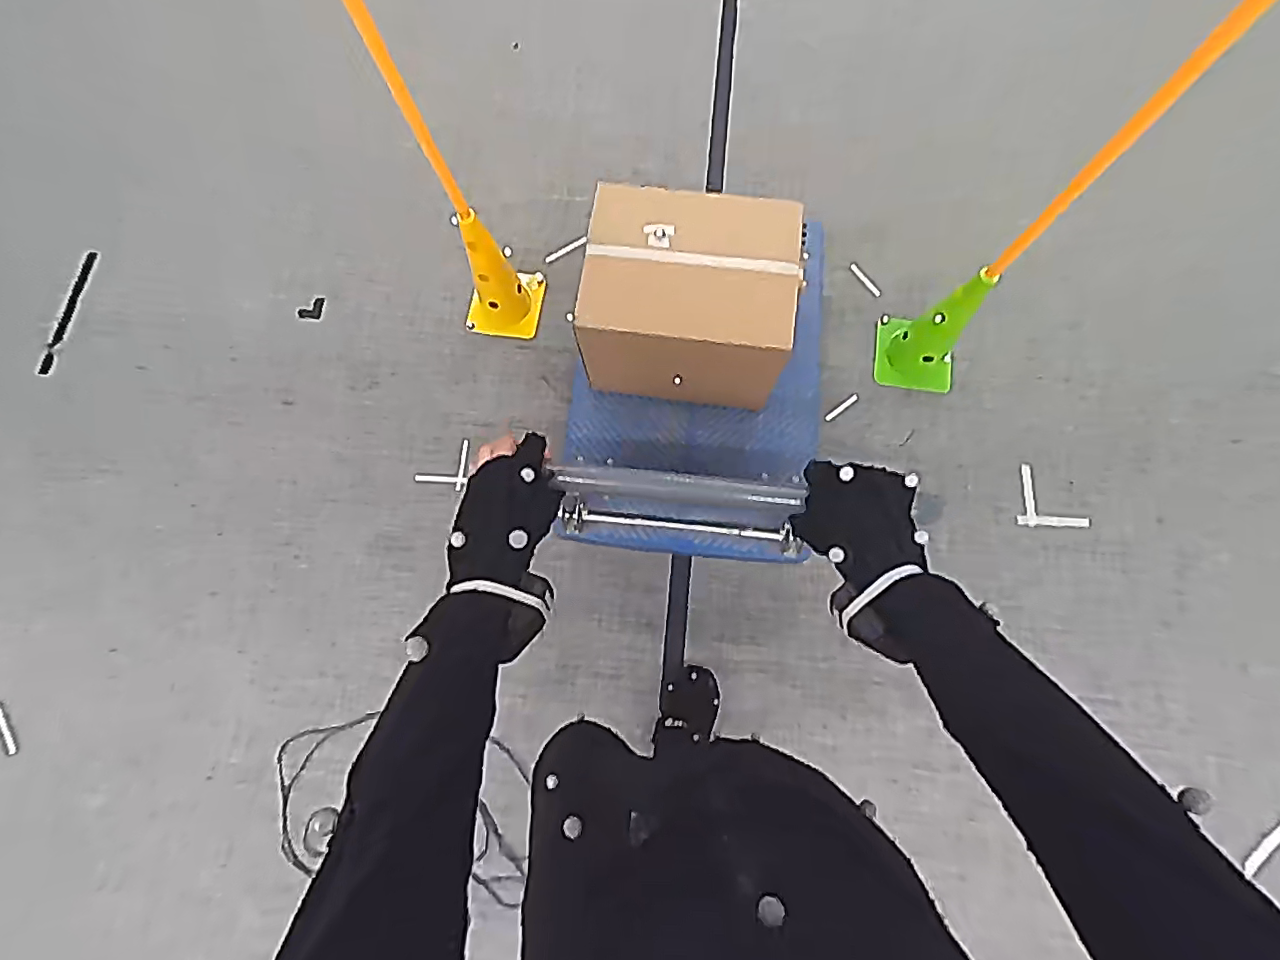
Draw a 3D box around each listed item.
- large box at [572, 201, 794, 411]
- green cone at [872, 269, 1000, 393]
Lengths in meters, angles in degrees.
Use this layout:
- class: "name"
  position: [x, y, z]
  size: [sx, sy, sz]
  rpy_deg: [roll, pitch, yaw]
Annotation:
- class: "large box"
  position: [0.096, -0.358, 1.177]
  size: [0.408, 0.320, 0.320]
  rpy_deg: [7, 77, 5]
- class: "green cone"
  position: [0.732, -0.380, 1.305]
  size: [0.202, 0.368, 0.200]
  rpy_deg: [9, 77, 3]
